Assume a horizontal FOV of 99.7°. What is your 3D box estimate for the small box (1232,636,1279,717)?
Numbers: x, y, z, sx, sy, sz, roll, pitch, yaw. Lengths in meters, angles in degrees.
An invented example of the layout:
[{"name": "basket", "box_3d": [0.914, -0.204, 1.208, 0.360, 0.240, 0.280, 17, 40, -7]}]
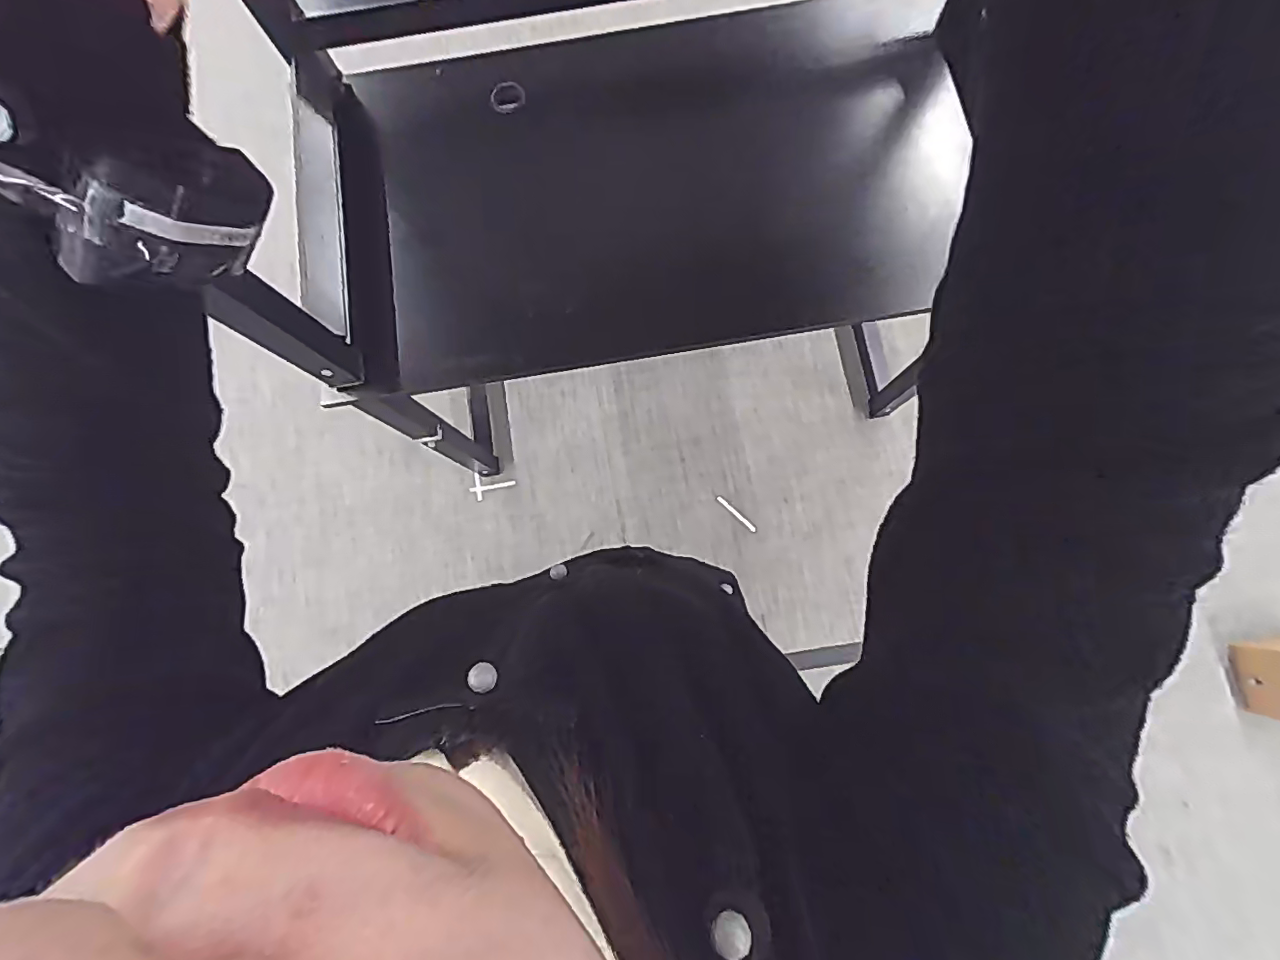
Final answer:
[{"name": "small box", "box_3d": [1.619, 0.485, 1.310, 0.168, 0.176, 0.179, -7, 81, 1]}]
